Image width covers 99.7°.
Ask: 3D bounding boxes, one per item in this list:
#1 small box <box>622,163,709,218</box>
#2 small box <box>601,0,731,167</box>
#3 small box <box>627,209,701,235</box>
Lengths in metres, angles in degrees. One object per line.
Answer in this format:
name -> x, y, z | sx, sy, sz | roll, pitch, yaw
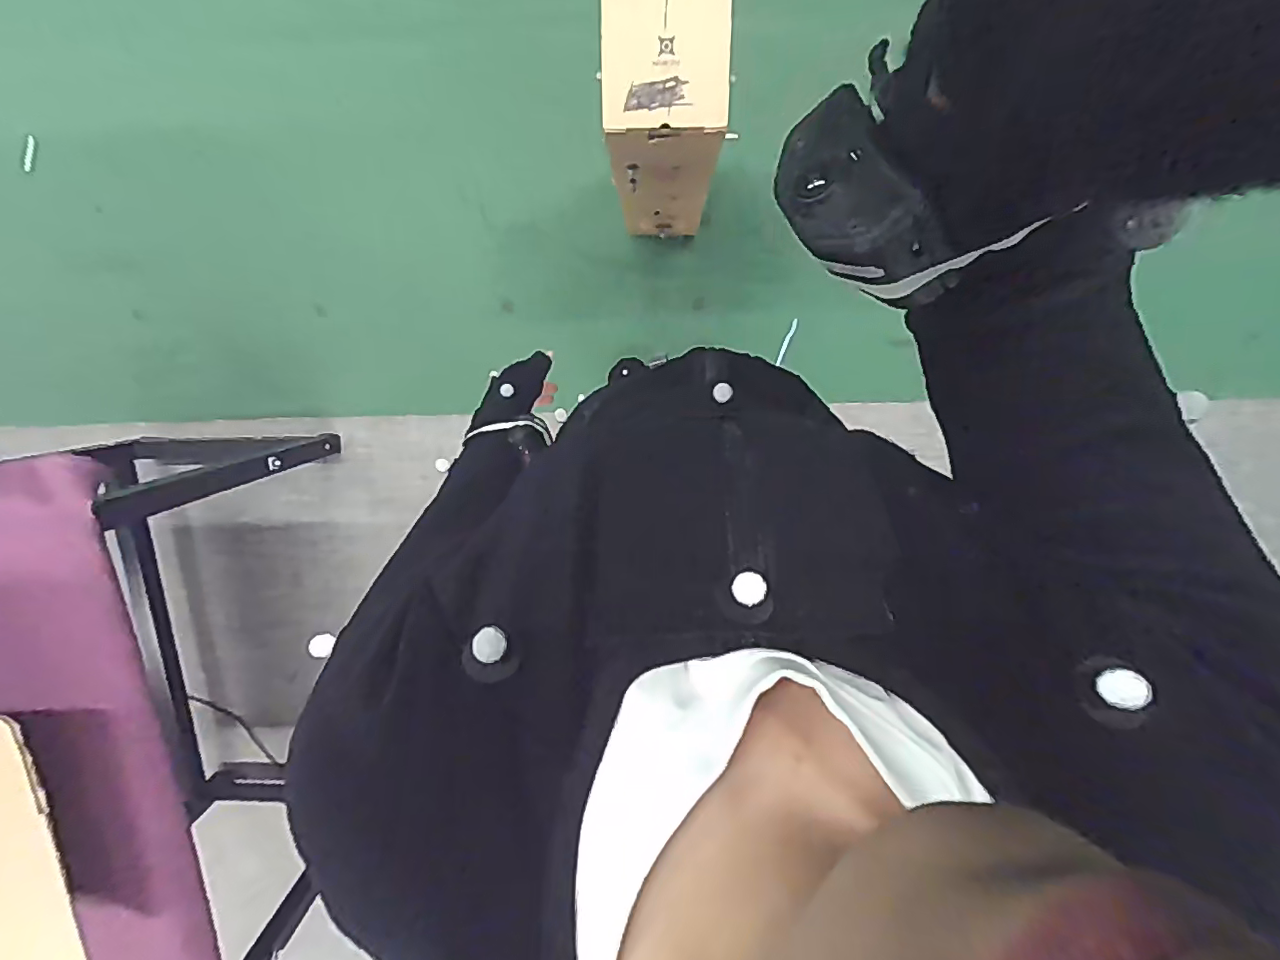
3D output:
small box -> 0.050, -0.641, 1.086 | 0.168, 0.176, 0.179 | 0, 104, 2
small box -> 0.036, -0.563, 0.767 | 0.168, 0.176, 0.179 | 0, 103, 2
small box -> 0.058, -0.678, 1.245 | 0.168, 0.176, 0.179 | 2, 104, 2
